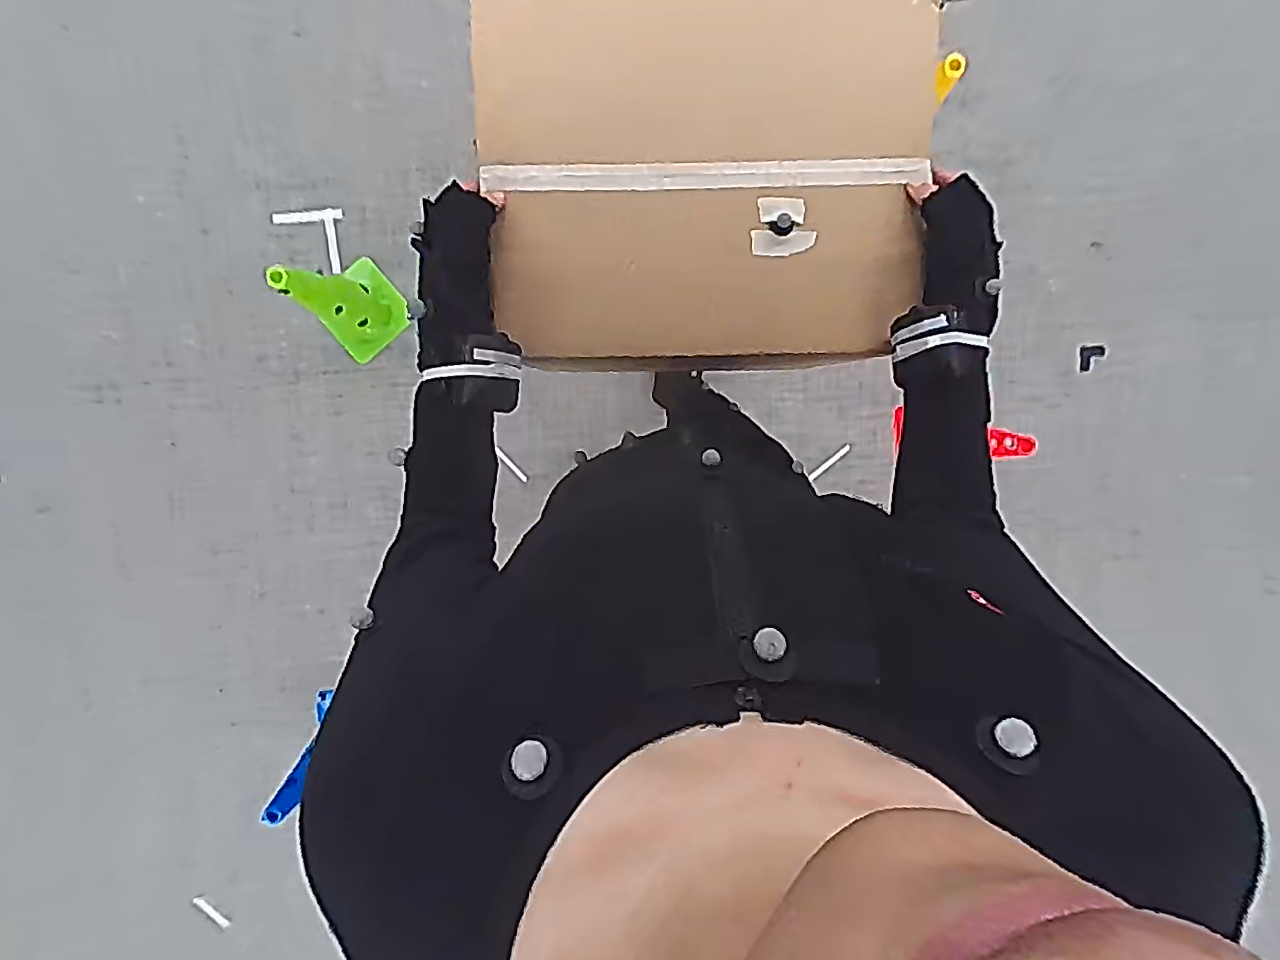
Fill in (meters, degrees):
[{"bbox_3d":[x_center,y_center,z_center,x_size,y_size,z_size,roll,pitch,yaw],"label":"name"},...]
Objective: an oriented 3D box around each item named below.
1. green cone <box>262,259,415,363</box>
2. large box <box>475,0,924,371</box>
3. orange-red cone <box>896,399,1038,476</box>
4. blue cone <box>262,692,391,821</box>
[{"bbox_3d":[-0.706,-0.410,1.214,0.202,0.368,0.200,-40,95,5],"label":"green cone"},{"bbox_3d":[0.053,-0.302,0.640,0.408,0.320,0.320,-2,99,-2],"label":"large box"},{"bbox_3d":[0.797,-0.097,1.292,0.198,0.360,0.199,-6,96,-2],"label":"orange-red cone"},{"bbox_3d":[-0.799,0.708,1.364,0.192,0.380,0.193,0,97,0],"label":"blue cone"}]
